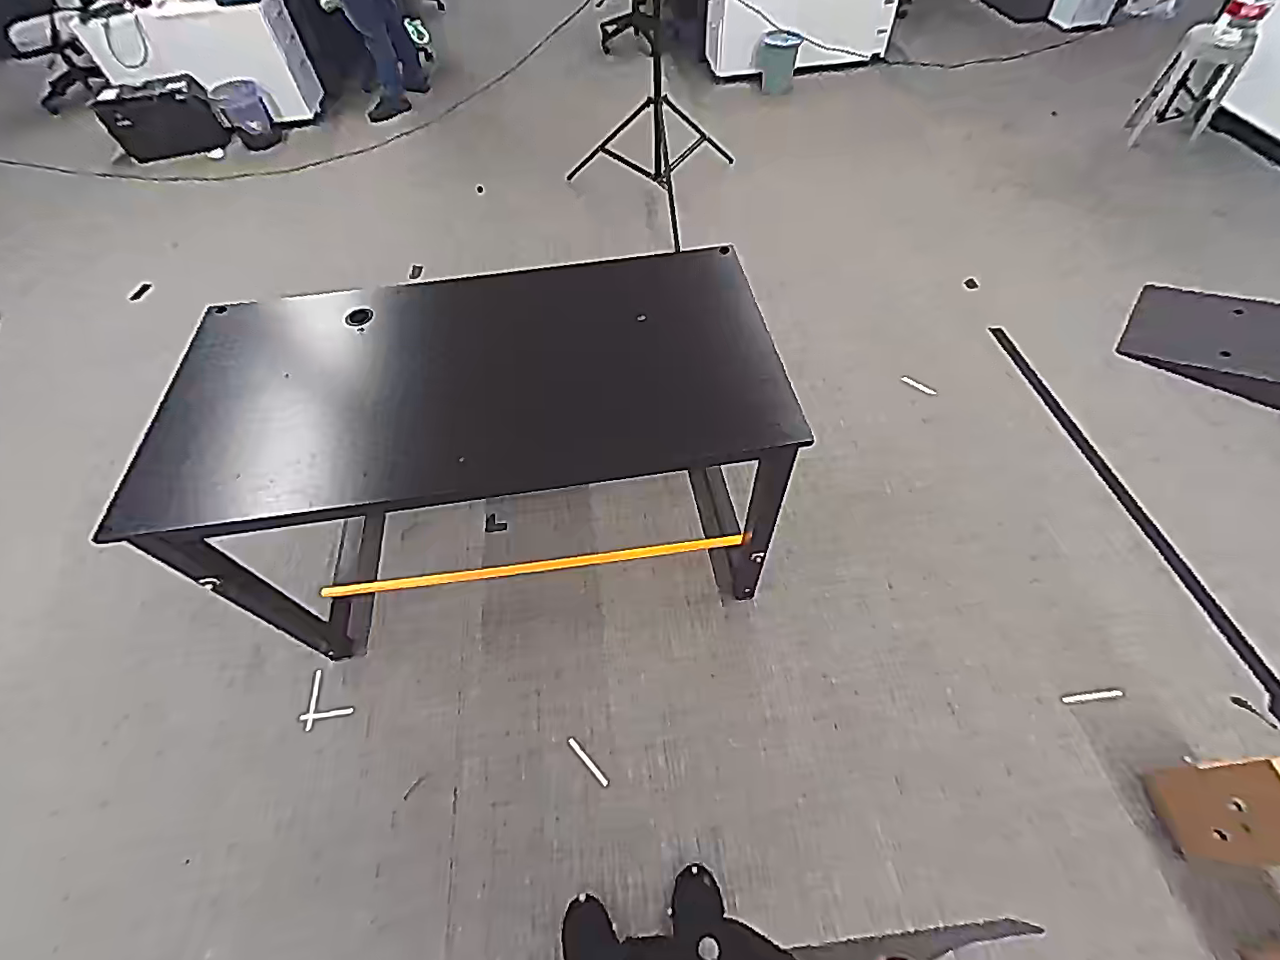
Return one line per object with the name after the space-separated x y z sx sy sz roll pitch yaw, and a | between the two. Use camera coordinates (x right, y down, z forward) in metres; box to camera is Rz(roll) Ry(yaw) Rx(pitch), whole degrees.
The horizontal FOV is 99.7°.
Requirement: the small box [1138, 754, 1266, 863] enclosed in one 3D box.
1.238 0.696 1.147 0.168 0.176 0.179 -6 55 -1 | small box

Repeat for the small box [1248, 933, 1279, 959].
1.289 0.939 0.980 0.179 0.176 0.168 -10 56 -3 | small box

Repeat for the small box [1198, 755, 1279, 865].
1.235 0.609 1.010 0.179 0.176 0.168 -8 54 -1 | small box
